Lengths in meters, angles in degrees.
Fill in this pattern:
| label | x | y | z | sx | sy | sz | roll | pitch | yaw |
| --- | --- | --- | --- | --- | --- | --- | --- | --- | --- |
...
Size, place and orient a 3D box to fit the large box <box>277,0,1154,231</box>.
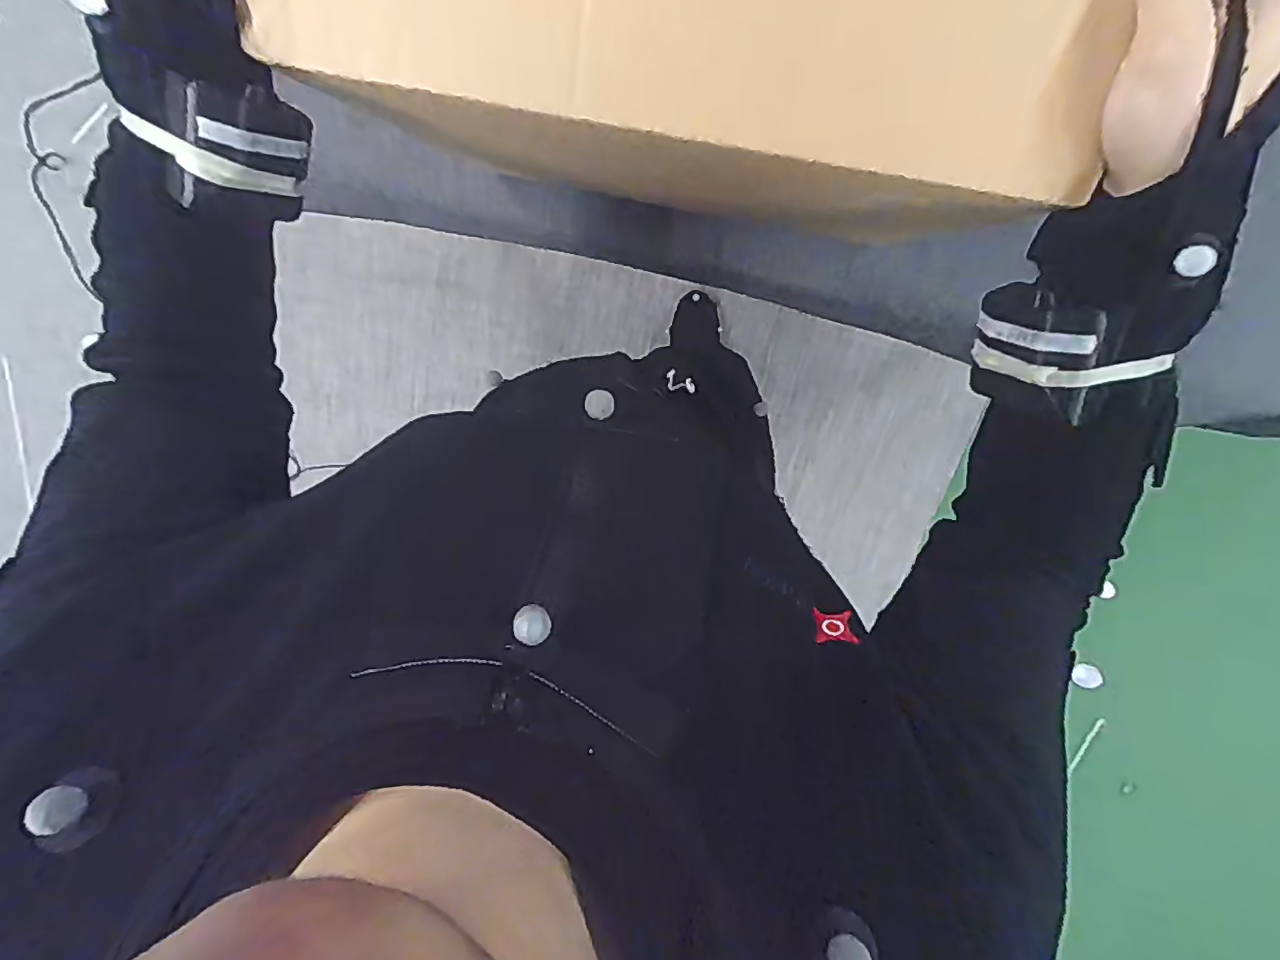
| label | x | y | z | sx | sy | sz | roll | pitch | yaw |
| --- | --- | --- | --- | --- | --- | --- | --- | --- | --- |
| large box | 0.052 | -0.369 | 0.348 | 0.408 | 0.320 | 0.320 | 11 | 112 | 2 |
